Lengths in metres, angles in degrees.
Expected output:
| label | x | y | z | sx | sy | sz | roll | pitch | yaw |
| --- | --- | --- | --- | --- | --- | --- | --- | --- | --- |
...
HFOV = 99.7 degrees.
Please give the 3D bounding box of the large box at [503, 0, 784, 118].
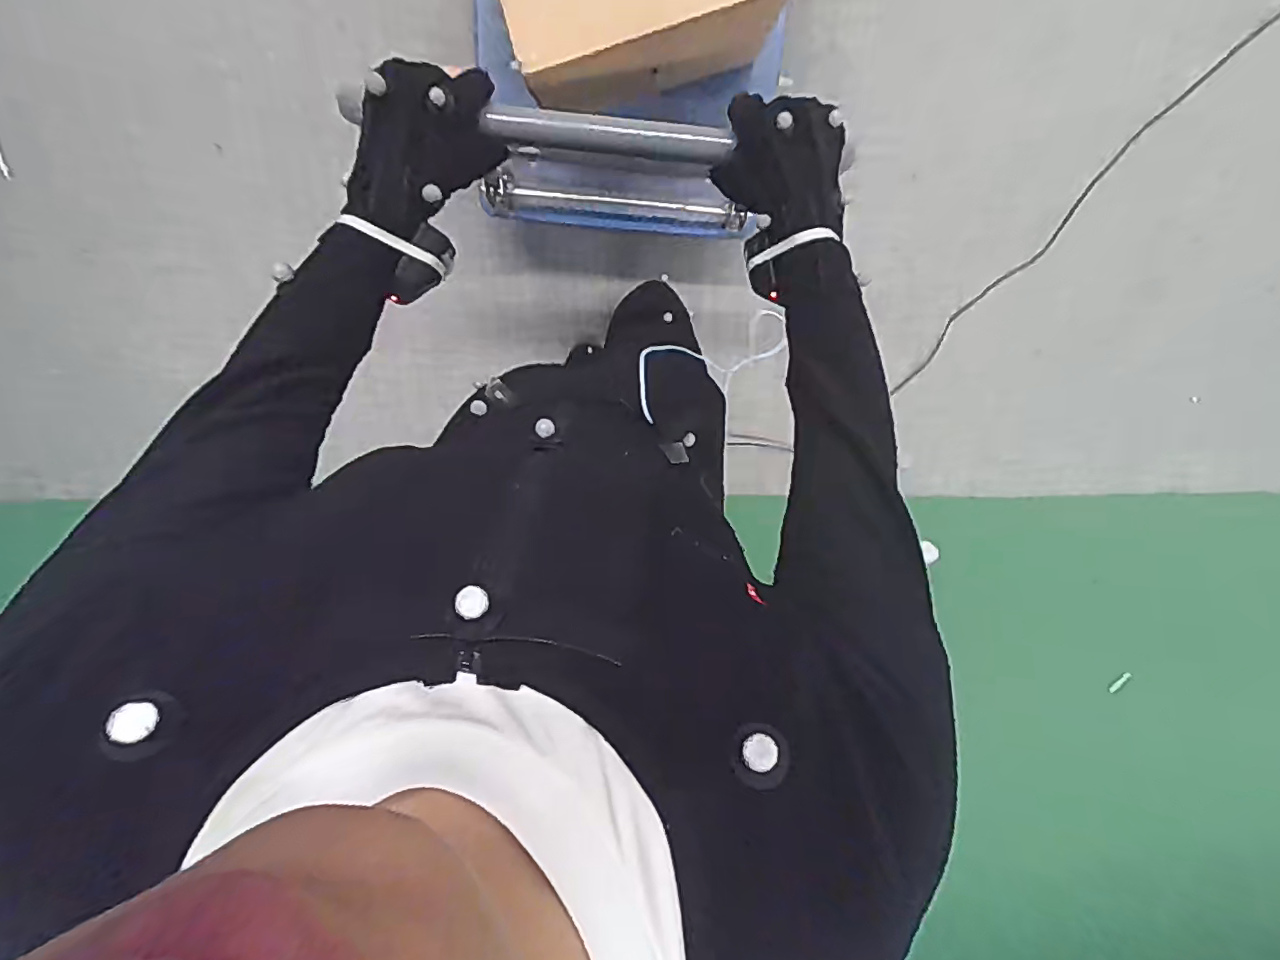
| label | x | y | z | sx | sy | sz | roll | pitch | yaw |
| --- | --- | --- | --- | --- | --- | --- | --- | --- | --- |
| large box | -0.013 | -0.831 | 0.849 | 0.408 | 0.320 | 0.320 | -13 | 111 | 6 |
